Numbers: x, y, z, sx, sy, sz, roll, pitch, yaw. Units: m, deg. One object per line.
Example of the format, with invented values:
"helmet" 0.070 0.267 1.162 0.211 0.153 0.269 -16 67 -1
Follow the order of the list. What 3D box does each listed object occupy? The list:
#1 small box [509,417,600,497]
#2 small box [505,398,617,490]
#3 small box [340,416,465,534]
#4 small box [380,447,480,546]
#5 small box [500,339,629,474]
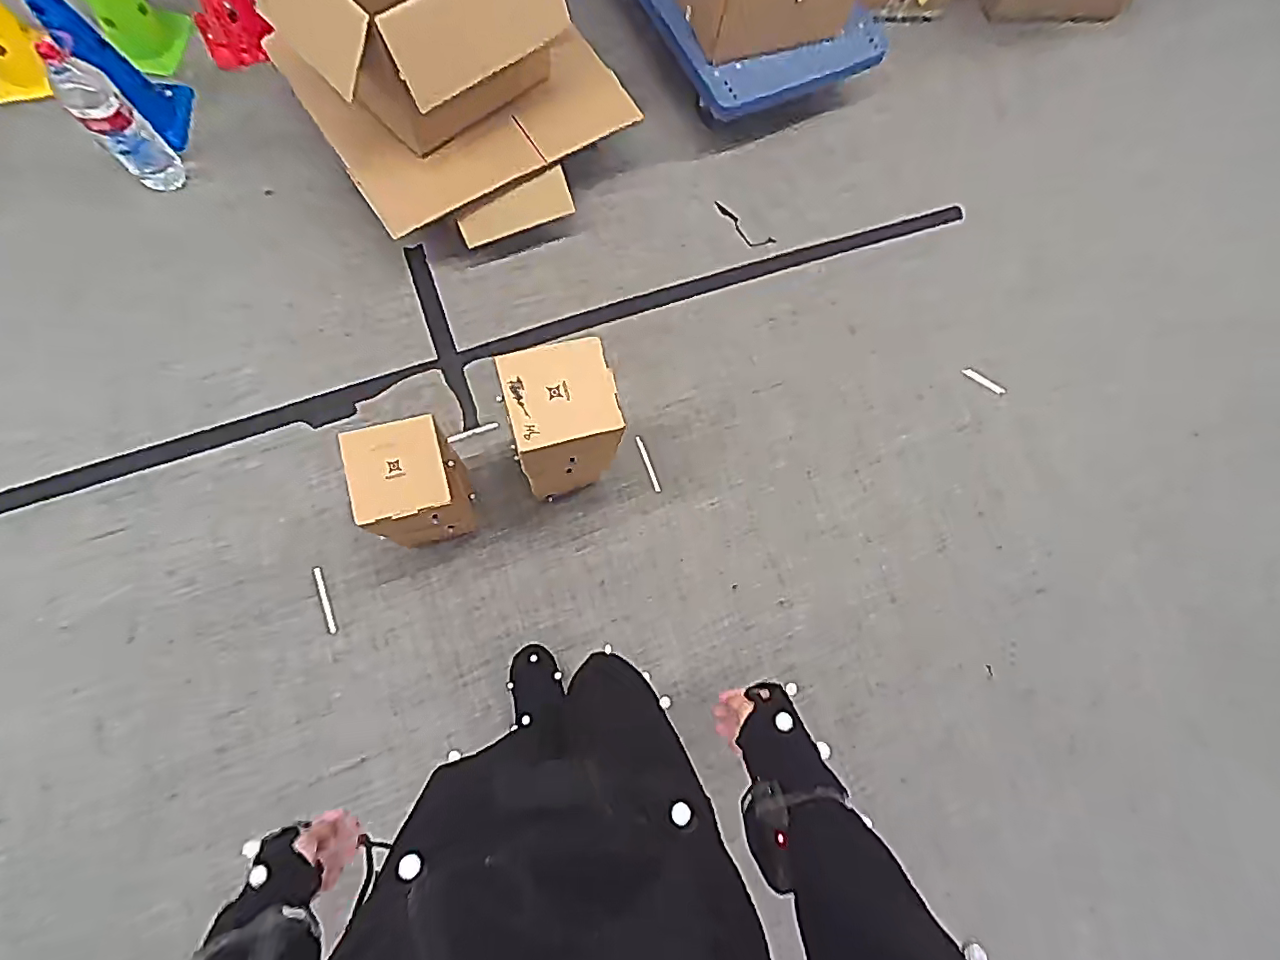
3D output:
"small box" -0.192 -0.069 1.254 0.168 0.176 0.179 -20 81 -12
"small box" -0.158 -0.089 1.093 0.179 0.176 0.168 -18 82 -12
"small box" -0.444 0.000 1.037 0.168 0.176 0.179 -15 79 -13
"small box" -0.467 0.043 1.192 0.179 0.176 0.168 -14 80 -11
"small box" -0.134 -0.120 0.934 0.179 0.176 0.168 -14 80 -12
